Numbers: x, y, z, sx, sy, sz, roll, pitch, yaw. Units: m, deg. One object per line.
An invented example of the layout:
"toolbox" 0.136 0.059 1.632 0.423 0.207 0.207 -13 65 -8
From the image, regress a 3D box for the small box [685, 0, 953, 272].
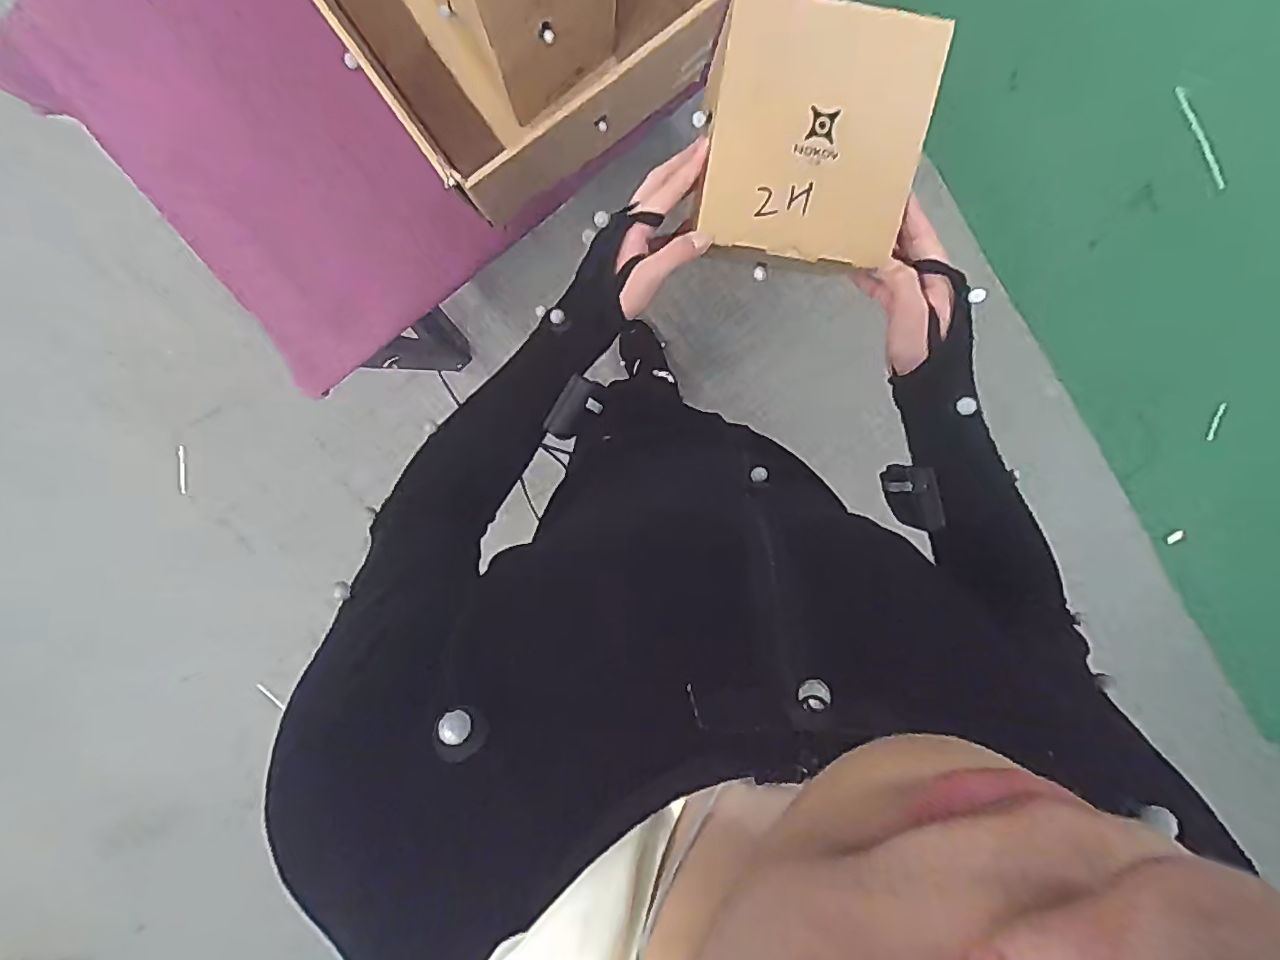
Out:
"small box" 0.137 -0.297 0.492 0.168 0.176 0.179 8 109 -2
